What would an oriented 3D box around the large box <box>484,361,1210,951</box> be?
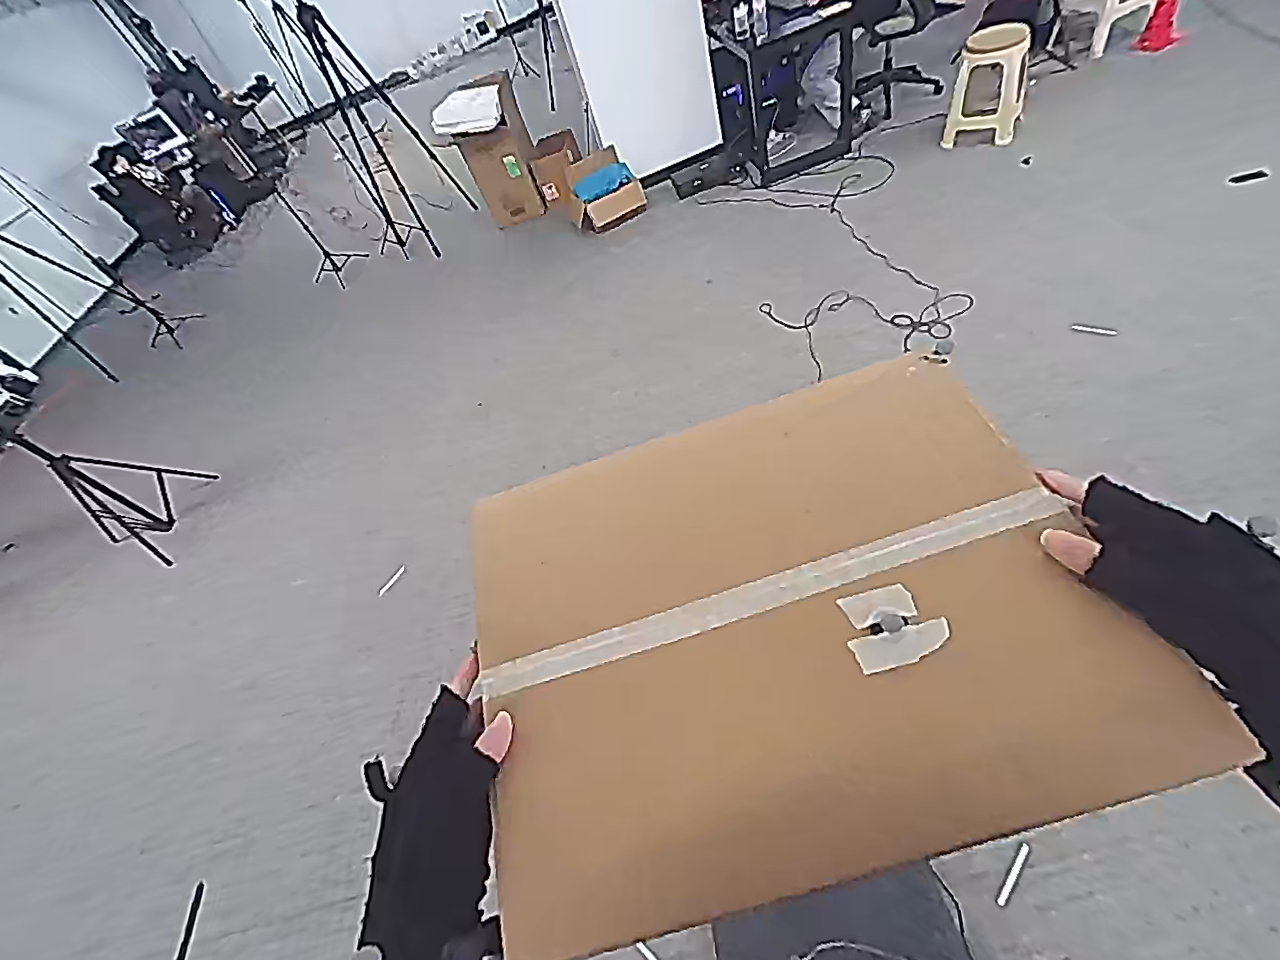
[{"bbox_3d":[0.117,0.160,0.504,0.408,0.320,0.320,-19,57,3],"label":"large box"}]
